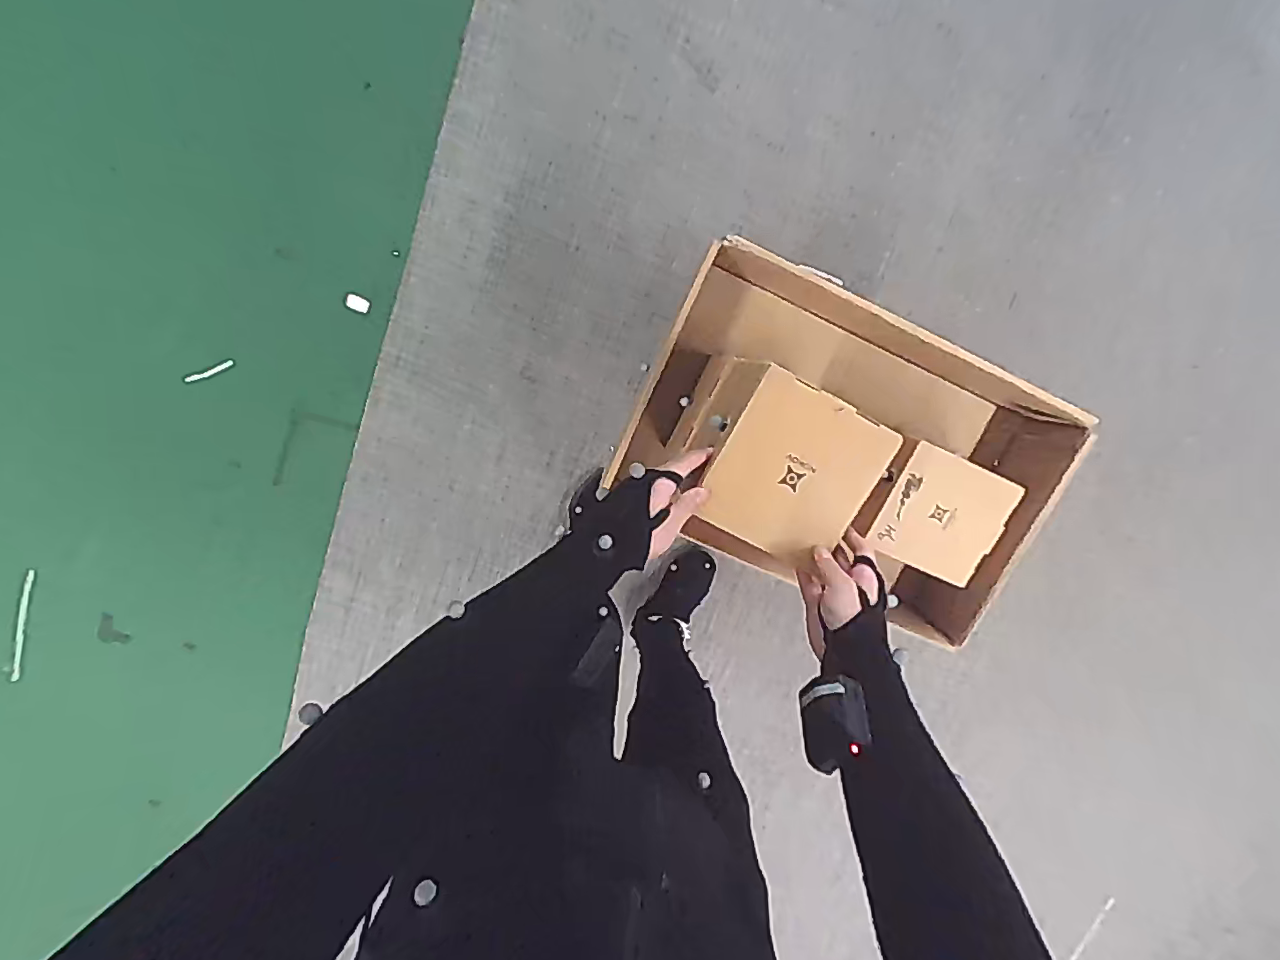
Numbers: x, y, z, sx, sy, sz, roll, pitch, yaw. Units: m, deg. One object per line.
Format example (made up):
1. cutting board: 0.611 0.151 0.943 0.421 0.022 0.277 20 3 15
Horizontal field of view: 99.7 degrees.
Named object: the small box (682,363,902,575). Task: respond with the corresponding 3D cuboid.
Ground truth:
1. small box: 0.160 -0.023 0.640 0.168 0.176 0.179 27 100 -7
